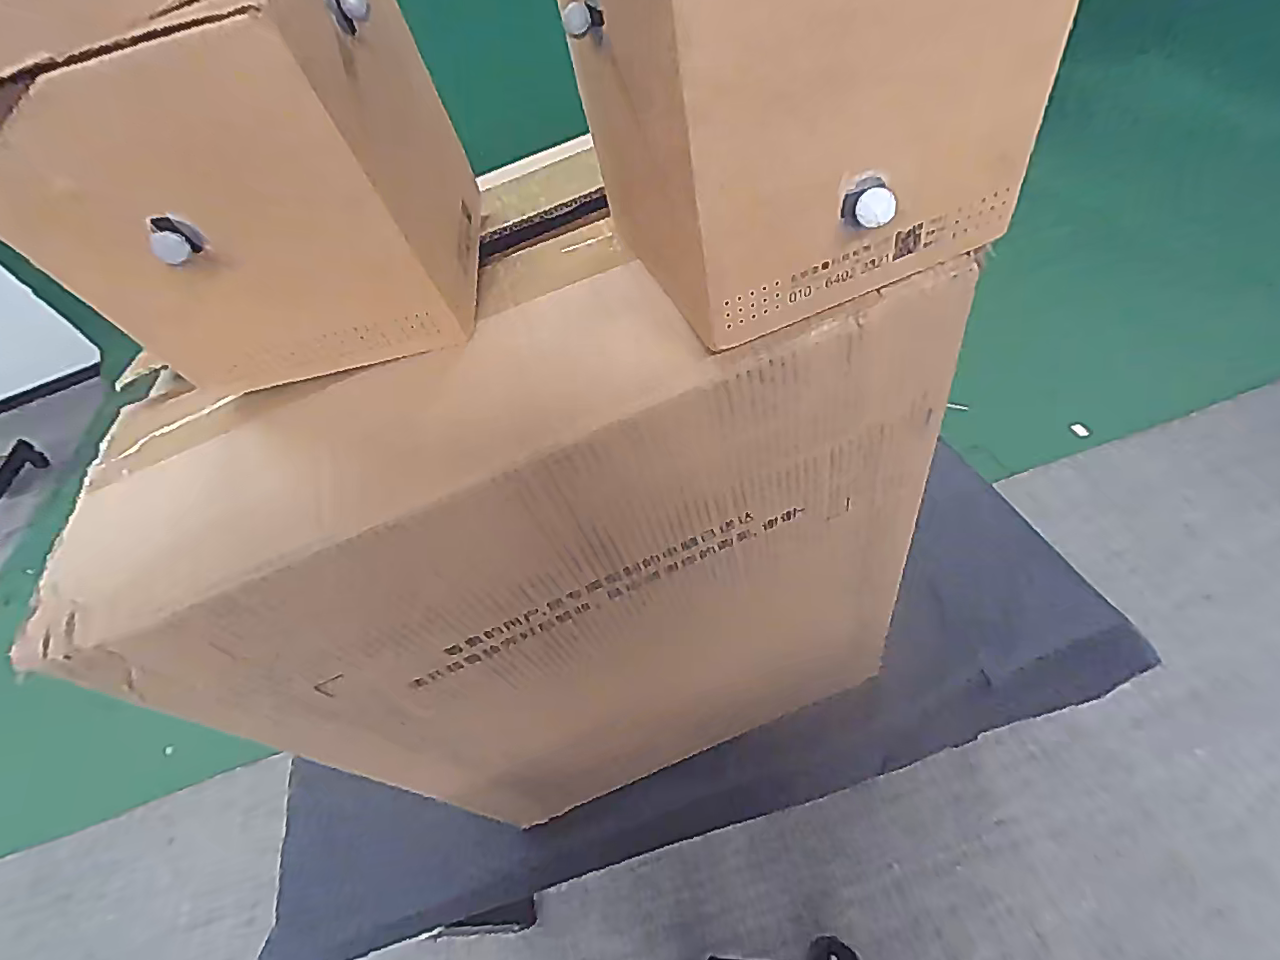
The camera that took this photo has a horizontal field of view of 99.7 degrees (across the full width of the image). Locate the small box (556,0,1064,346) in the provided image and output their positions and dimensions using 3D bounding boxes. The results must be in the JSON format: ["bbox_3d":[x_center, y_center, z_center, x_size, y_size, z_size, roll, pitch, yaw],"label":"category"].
[{"bbox_3d":[0.062,-0.198,0.266,0.168,0.176,0.179,-23,50,-3],"label":"small box"}]

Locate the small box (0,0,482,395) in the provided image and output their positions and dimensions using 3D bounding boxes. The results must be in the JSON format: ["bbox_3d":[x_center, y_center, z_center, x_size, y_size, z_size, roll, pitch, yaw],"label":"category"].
[{"bbox_3d":[-0.213,-0.171,0.311,0.179,0.176,0.168,-12,58,6],"label":"small box"}]
